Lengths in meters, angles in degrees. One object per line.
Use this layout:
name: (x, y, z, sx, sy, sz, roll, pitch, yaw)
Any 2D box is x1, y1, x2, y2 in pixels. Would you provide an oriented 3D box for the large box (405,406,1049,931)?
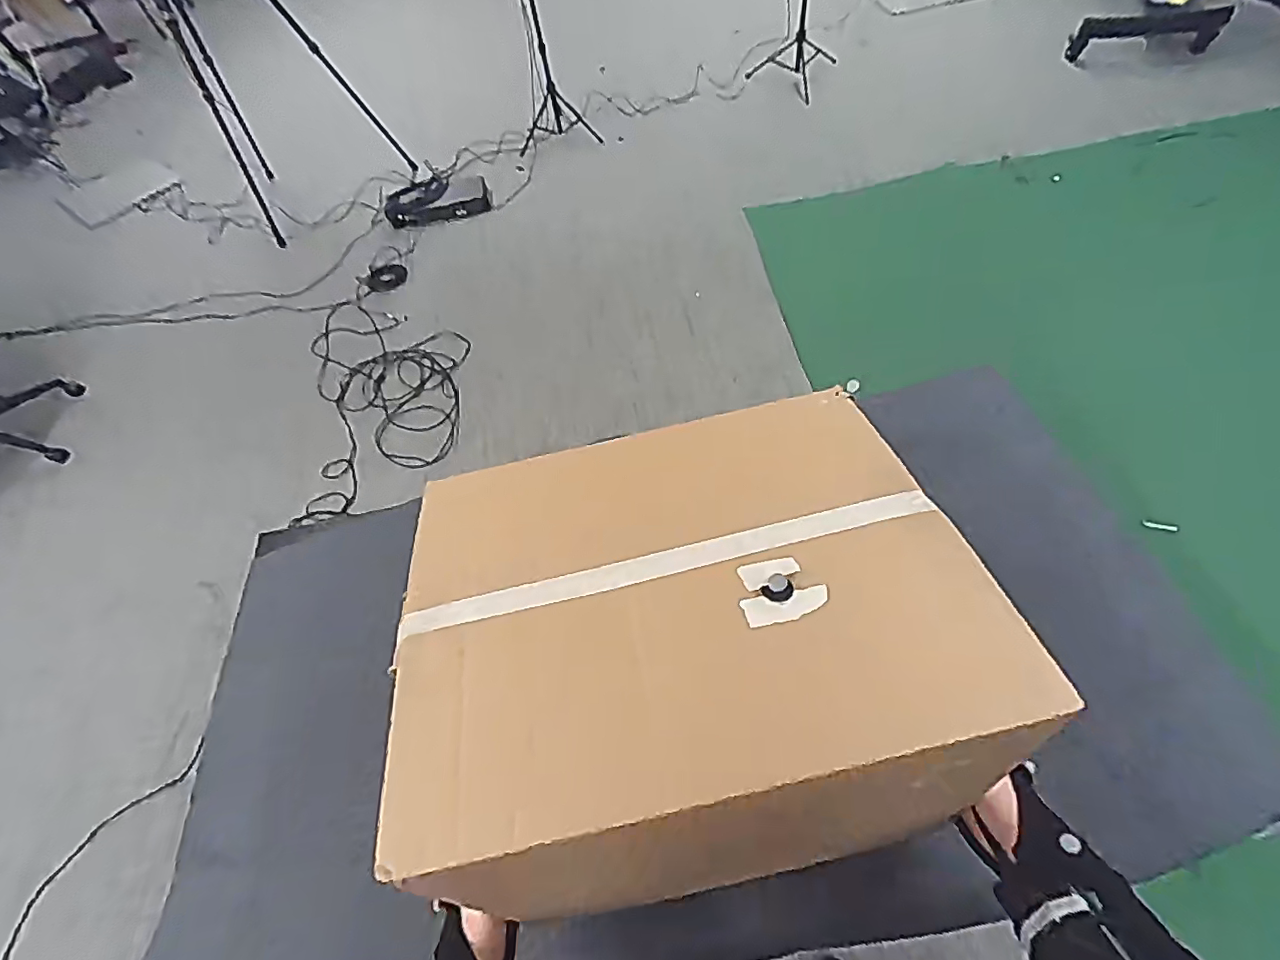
large box: (0.048, 0.179, 0.525, 0.408, 0.320, 0.320, -13, 46, -2)
